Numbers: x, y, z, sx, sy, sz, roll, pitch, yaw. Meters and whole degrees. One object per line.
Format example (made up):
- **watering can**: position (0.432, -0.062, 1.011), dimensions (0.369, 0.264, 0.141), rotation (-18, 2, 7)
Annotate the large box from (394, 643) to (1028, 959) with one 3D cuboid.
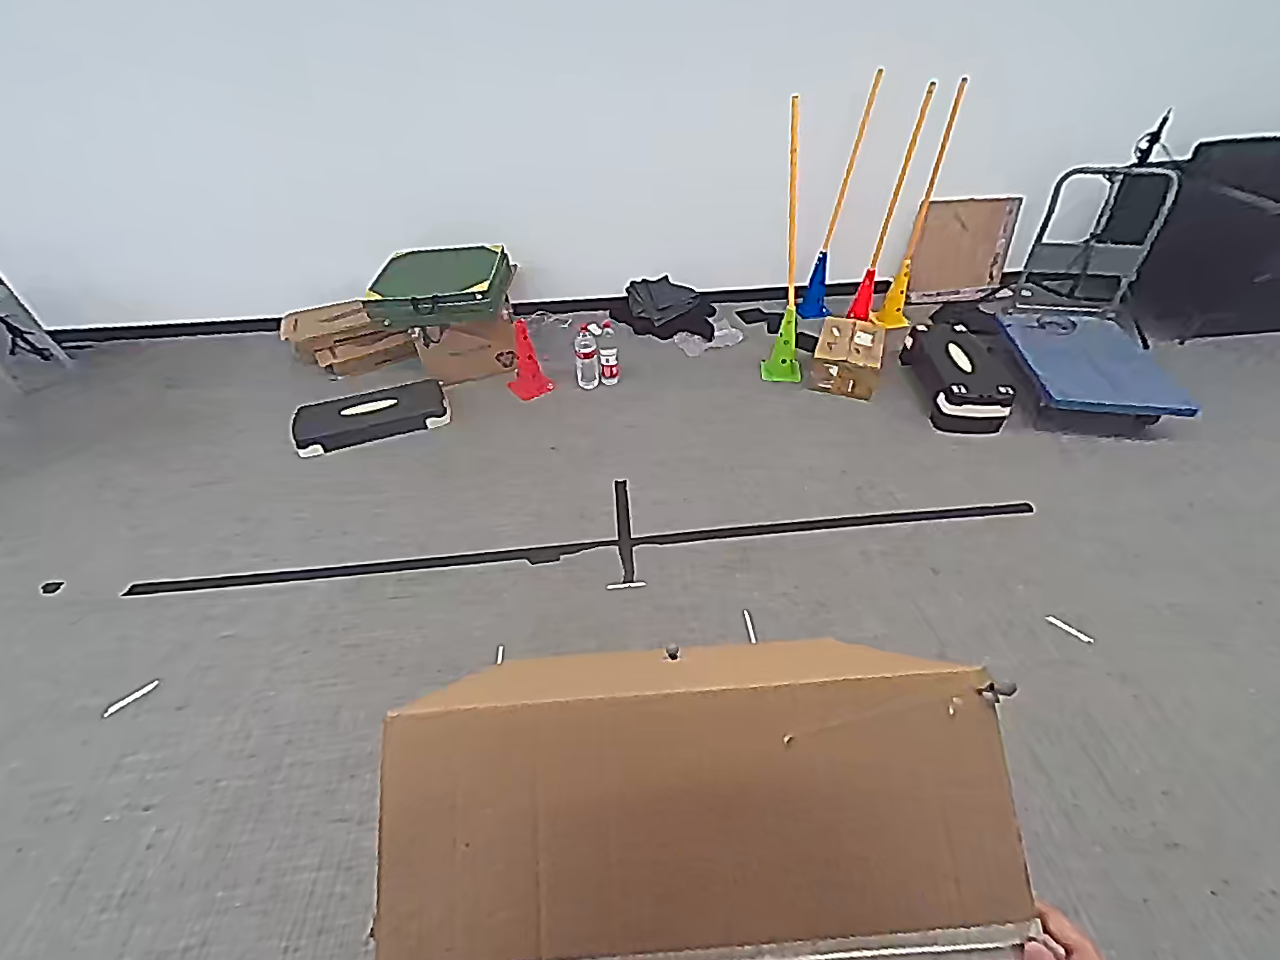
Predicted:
- **large box**: position (0.043, 0.332, 0.484), dimensions (0.408, 0.320, 0.320), rotation (-5, 79, -1)
